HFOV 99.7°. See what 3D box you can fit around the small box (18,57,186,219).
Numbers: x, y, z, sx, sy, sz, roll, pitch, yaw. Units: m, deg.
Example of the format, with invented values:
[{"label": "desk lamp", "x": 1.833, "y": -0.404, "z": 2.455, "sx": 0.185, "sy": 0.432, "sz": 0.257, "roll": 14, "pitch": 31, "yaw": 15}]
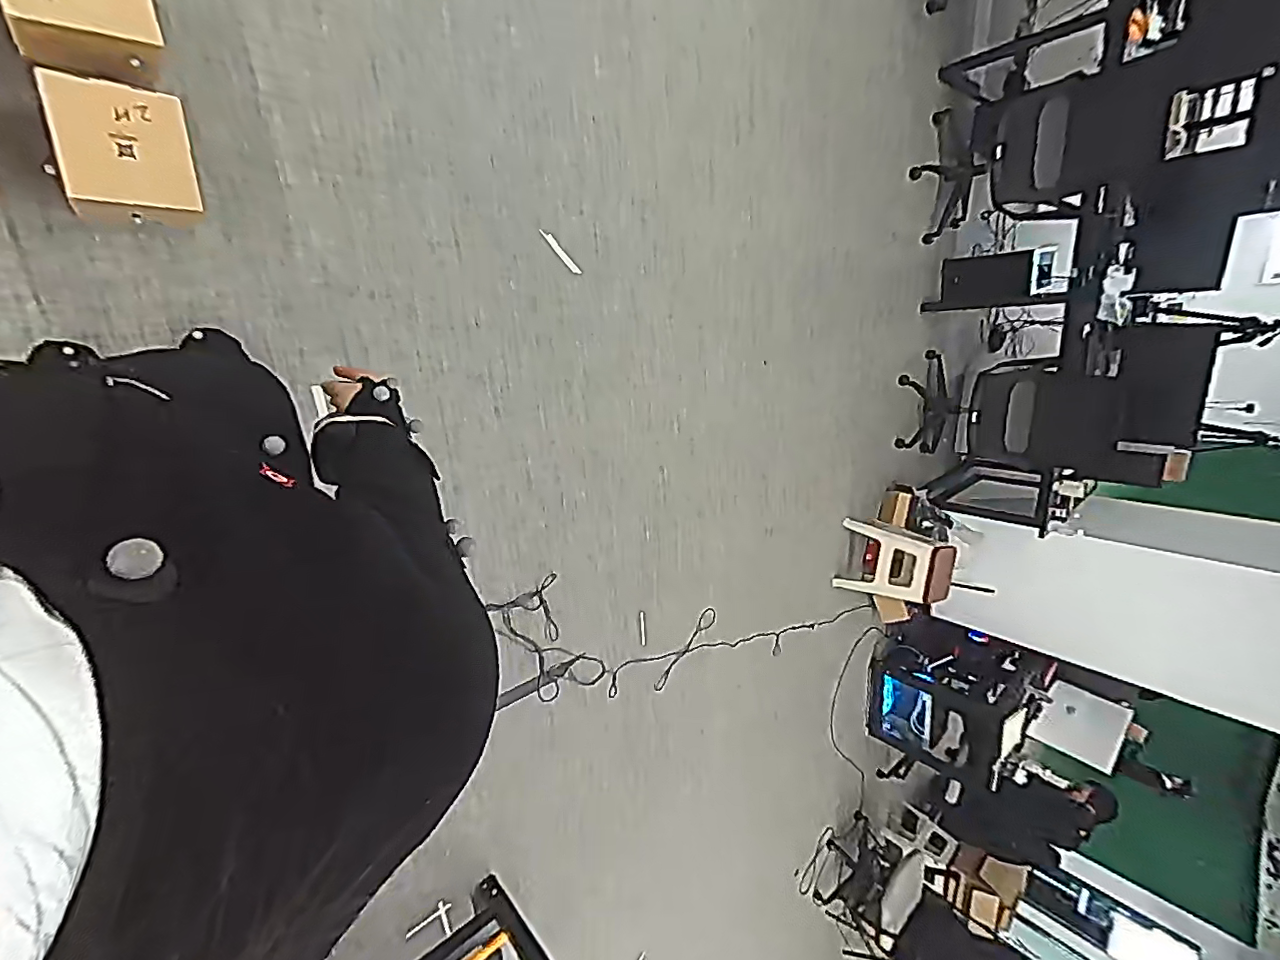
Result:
[{"label": "small box", "x": -0.880, "y": -0.548, "z": 0.900, "sx": 0.168, "sy": 0.176, "sz": 0.179, "roll": -14, "pitch": 109, "yaw": -41}]
